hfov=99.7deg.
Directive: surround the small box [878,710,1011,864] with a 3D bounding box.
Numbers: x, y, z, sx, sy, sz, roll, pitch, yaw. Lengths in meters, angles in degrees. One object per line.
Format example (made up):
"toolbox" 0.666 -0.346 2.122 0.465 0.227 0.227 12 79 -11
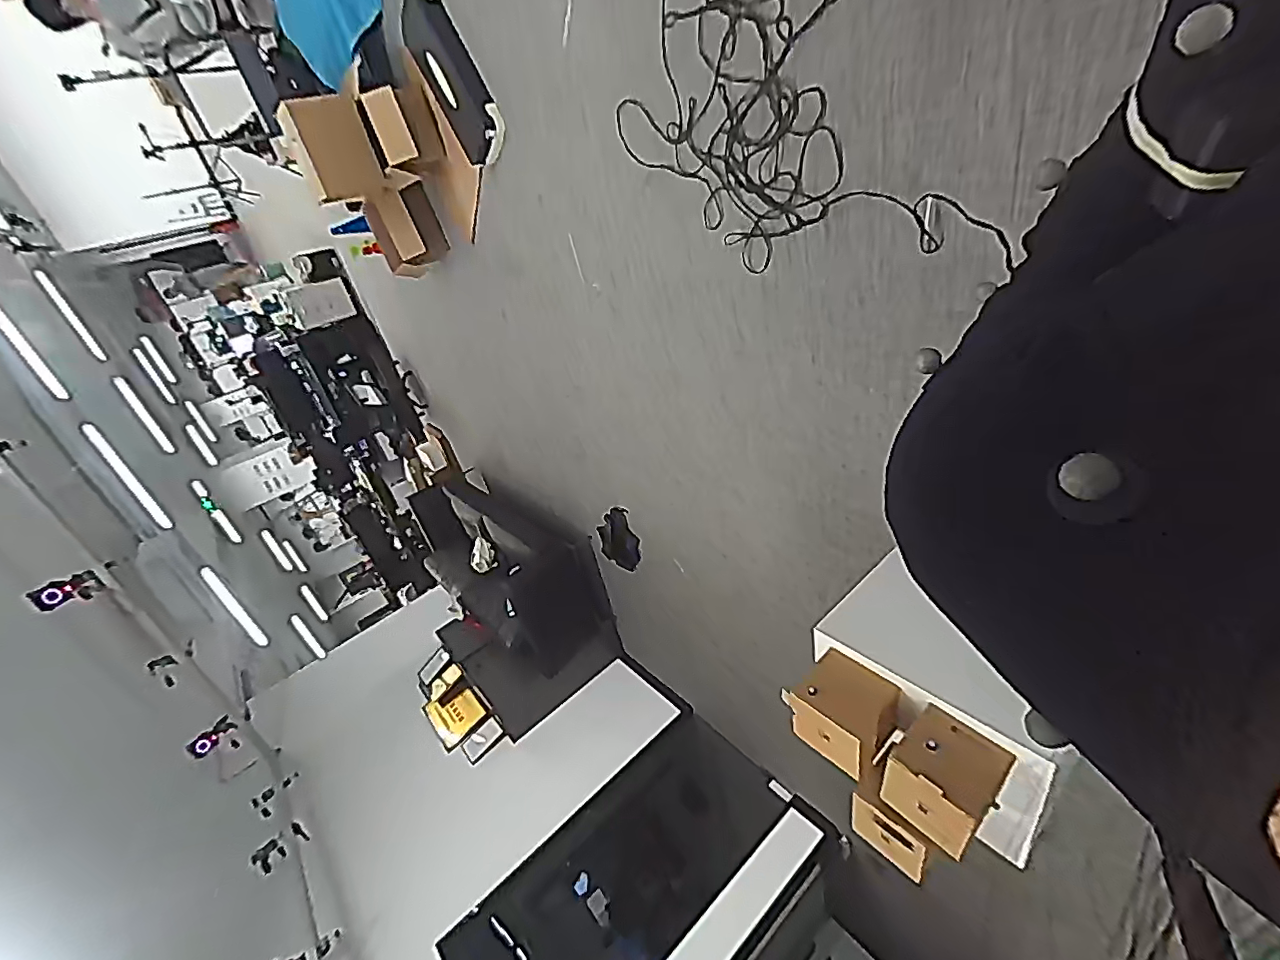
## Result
"small box" 0.606 0.604 1.082 0.168 0.176 0.179 30 142 44
